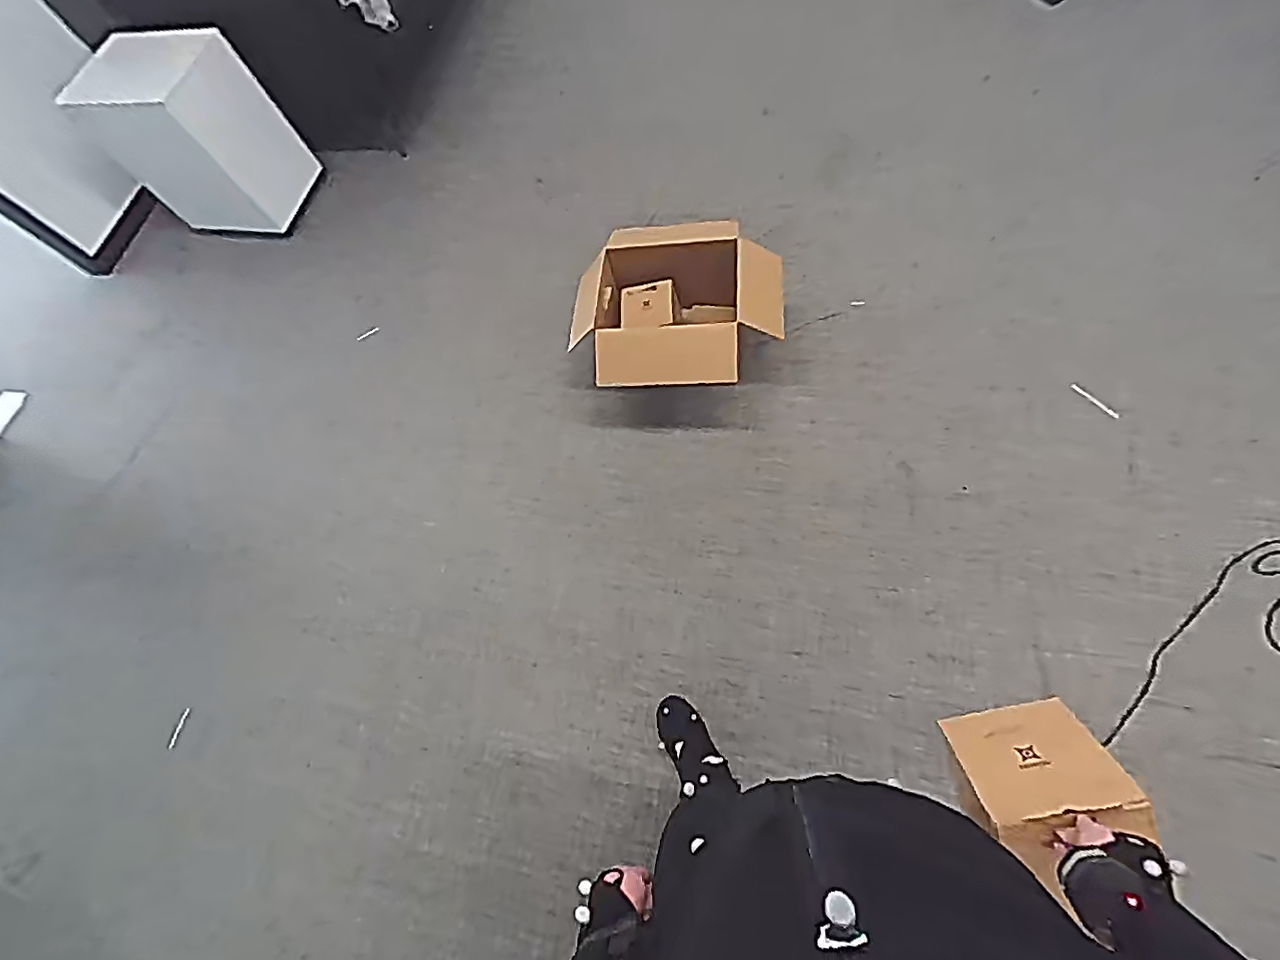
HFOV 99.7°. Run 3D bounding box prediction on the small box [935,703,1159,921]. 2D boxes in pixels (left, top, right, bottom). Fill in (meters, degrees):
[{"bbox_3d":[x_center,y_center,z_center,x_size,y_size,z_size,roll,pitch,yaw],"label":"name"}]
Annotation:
[{"bbox_3d":[0.517,0.429,0.702,0.168,0.179,0.176,-16,102,12],"label":"small box"}]
